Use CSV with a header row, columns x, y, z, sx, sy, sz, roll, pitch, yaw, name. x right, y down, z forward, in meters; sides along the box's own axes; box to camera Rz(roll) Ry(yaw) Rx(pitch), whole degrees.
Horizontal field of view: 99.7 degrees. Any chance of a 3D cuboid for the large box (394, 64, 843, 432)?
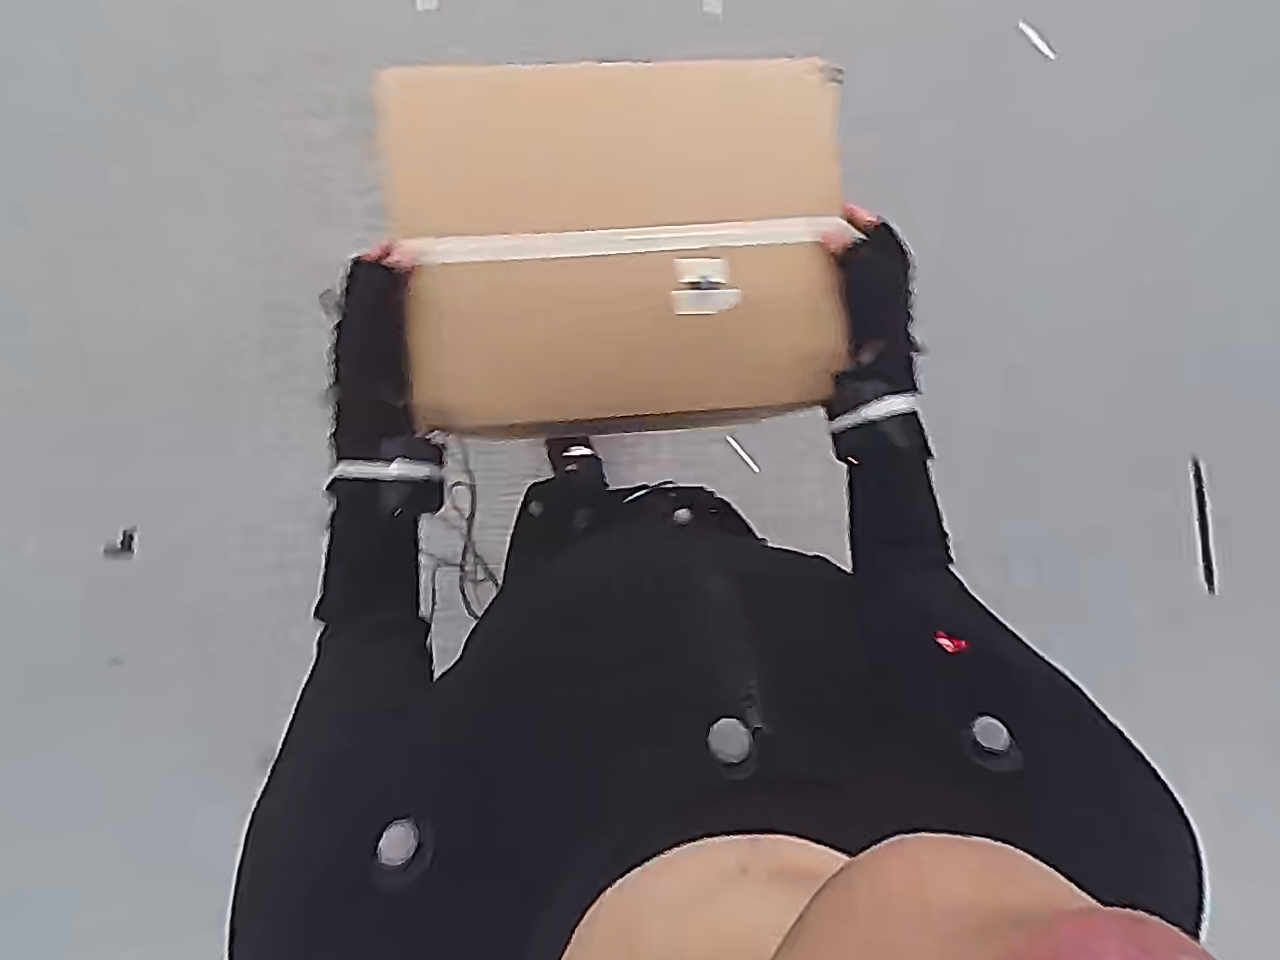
x,y,z,sx,sy,sz,roll,pitch,yaw,name
-0.026,-0.232,0.648,0.408,0.320,0.320,-4,94,-6,large box
